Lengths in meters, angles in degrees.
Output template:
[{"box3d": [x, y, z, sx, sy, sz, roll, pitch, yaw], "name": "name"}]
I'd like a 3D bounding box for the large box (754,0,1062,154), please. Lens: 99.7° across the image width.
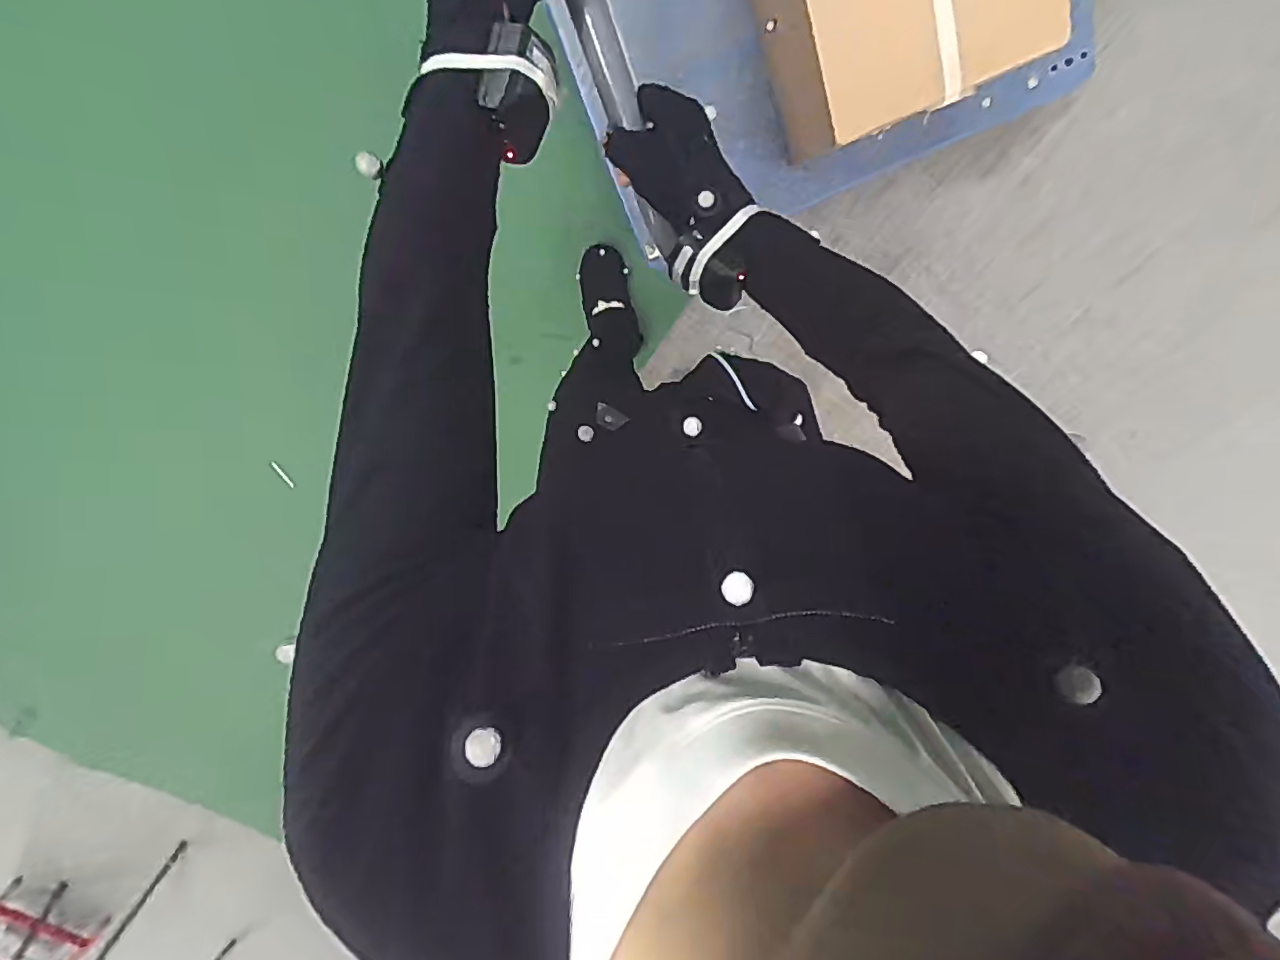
[{"box3d": [0.351, -0.778, 0.805, 0.320, 0.320, 0.408, -19, 112, 11], "name": "large box"}]
